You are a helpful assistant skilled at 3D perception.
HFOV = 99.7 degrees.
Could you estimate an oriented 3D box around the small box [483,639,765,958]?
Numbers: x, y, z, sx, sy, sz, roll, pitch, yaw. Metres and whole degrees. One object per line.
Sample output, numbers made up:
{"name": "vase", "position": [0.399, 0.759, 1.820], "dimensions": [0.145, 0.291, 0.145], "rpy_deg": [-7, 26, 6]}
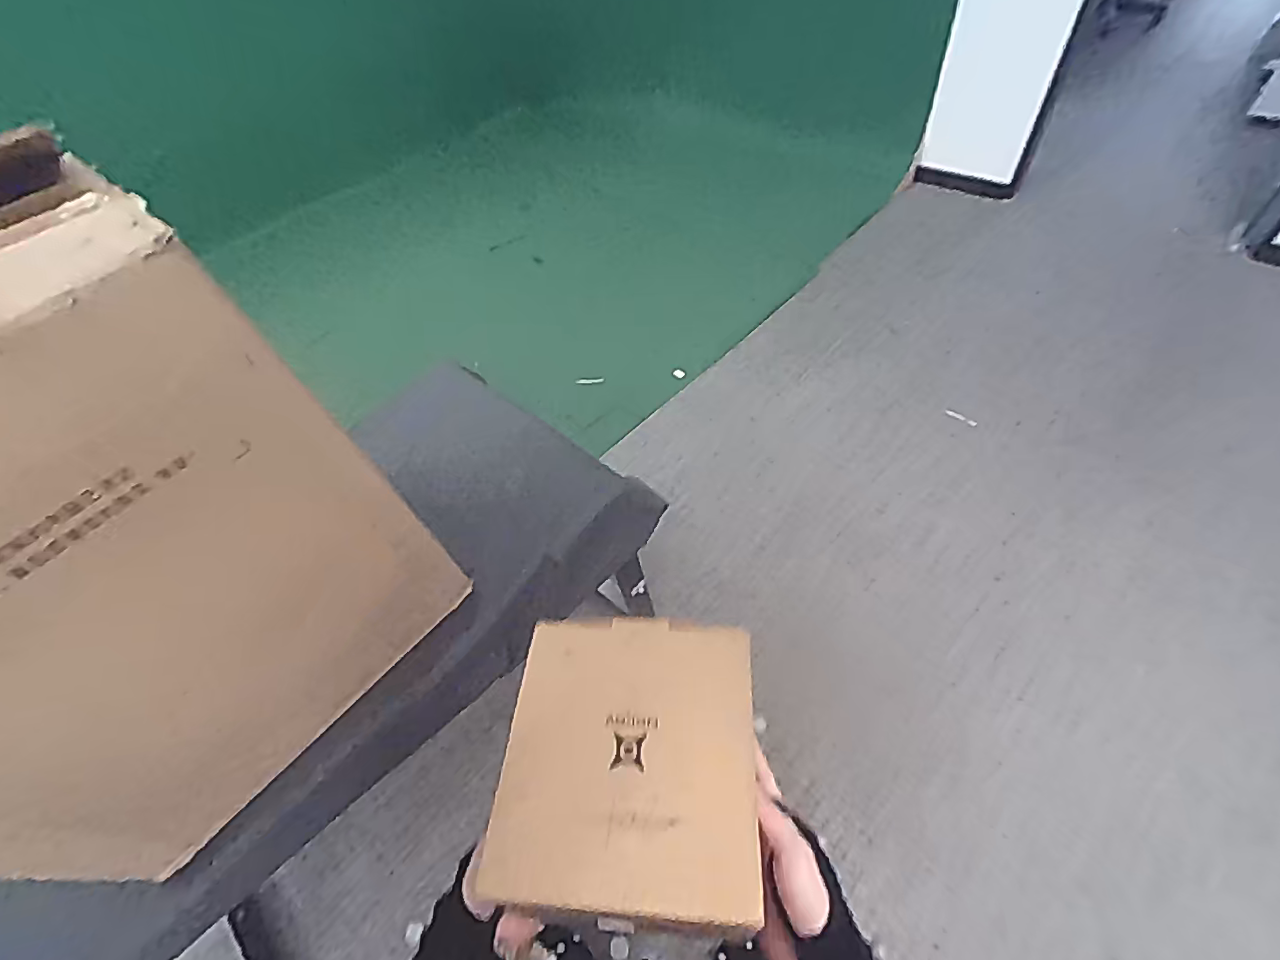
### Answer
{"name": "small box", "position": [0.001, 0.244, 0.418], "dimensions": [0.168, 0.176, 0.179], "rpy_deg": [0, 48, 6]}
